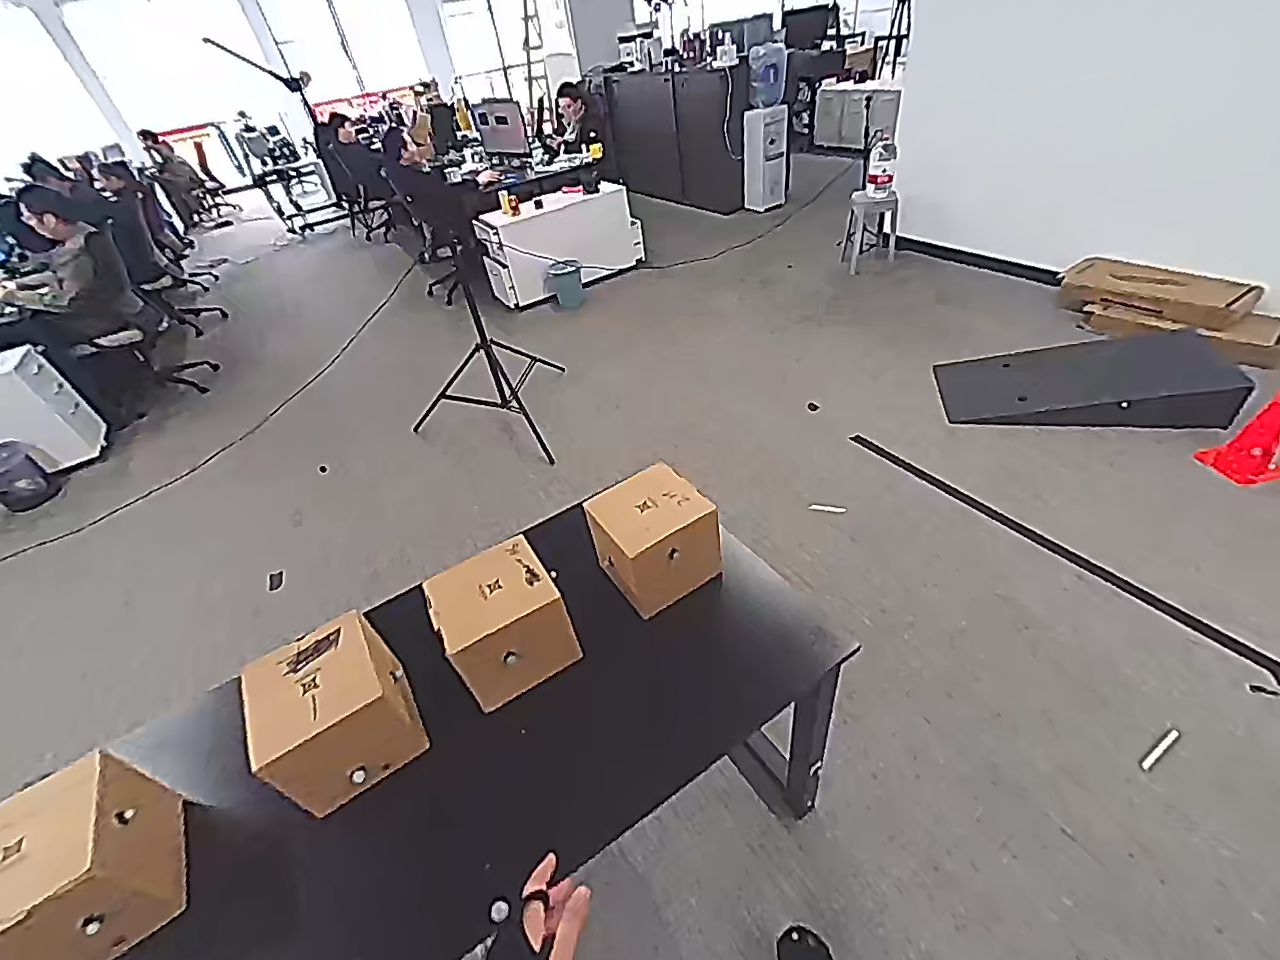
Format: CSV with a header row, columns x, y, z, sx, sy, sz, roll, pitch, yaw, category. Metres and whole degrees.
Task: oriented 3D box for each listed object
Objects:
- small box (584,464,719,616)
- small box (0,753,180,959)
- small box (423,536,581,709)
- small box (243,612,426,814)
x,y,z,sx,sy,sz,roll,pitch,yaw,category
0.027,0.107,0.961,0.179,0.176,0.168,-27,43,-19,small box
-0.708,0.489,0.664,0.168,0.176,0.179,-29,43,-24,small box
-0.218,0.229,0.870,0.179,0.176,0.168,-27,43,-18,small box
-0.439,0.337,0.787,0.168,0.176,0.179,-28,44,-21,small box
